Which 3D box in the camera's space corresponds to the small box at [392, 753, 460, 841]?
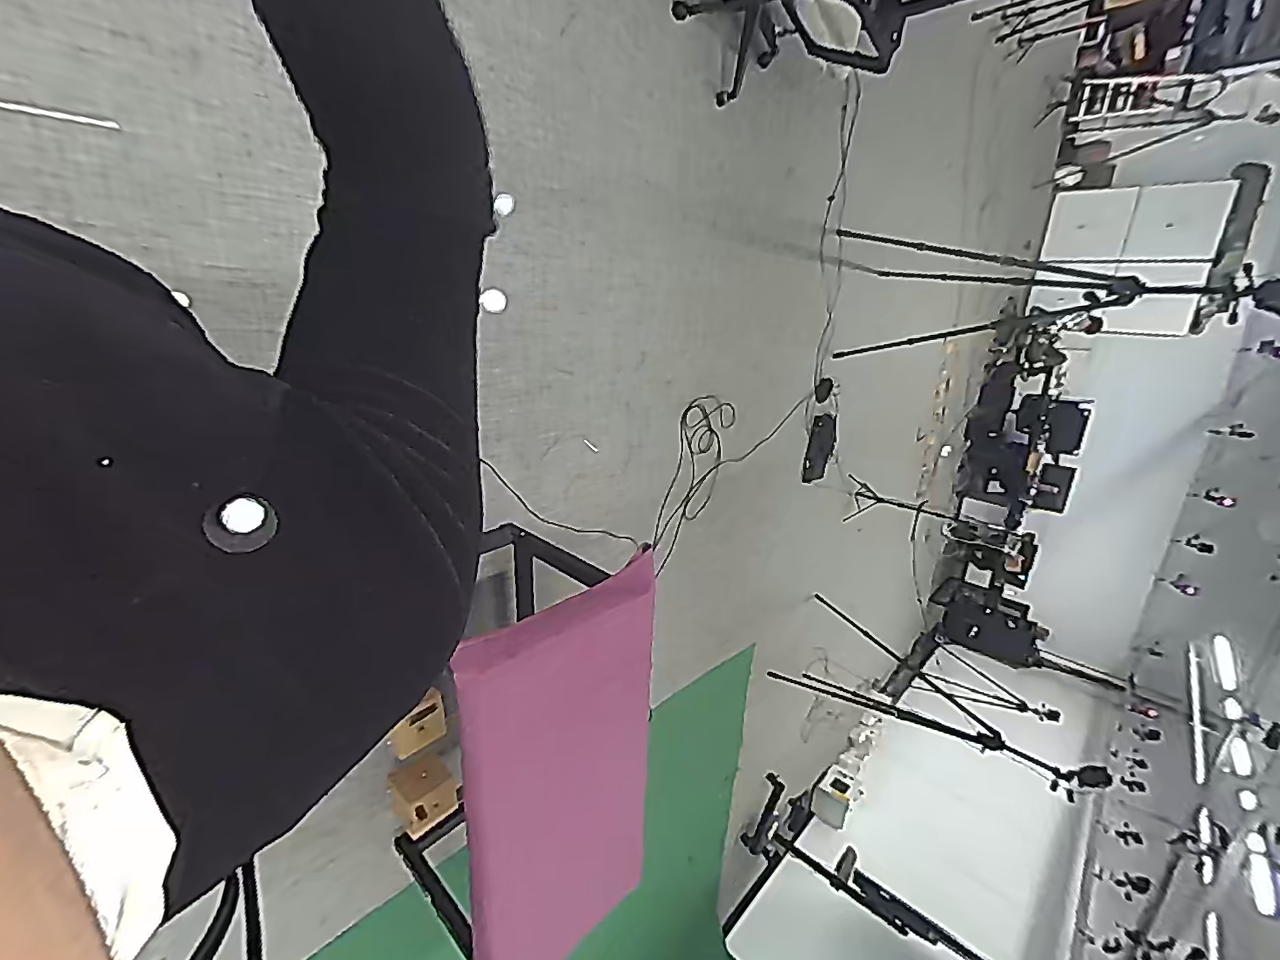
[{"bbox_3d":[-0.783,1.147,1.969,0.179,0.176,0.168,-21,119,-44],"label":"small box"}]
